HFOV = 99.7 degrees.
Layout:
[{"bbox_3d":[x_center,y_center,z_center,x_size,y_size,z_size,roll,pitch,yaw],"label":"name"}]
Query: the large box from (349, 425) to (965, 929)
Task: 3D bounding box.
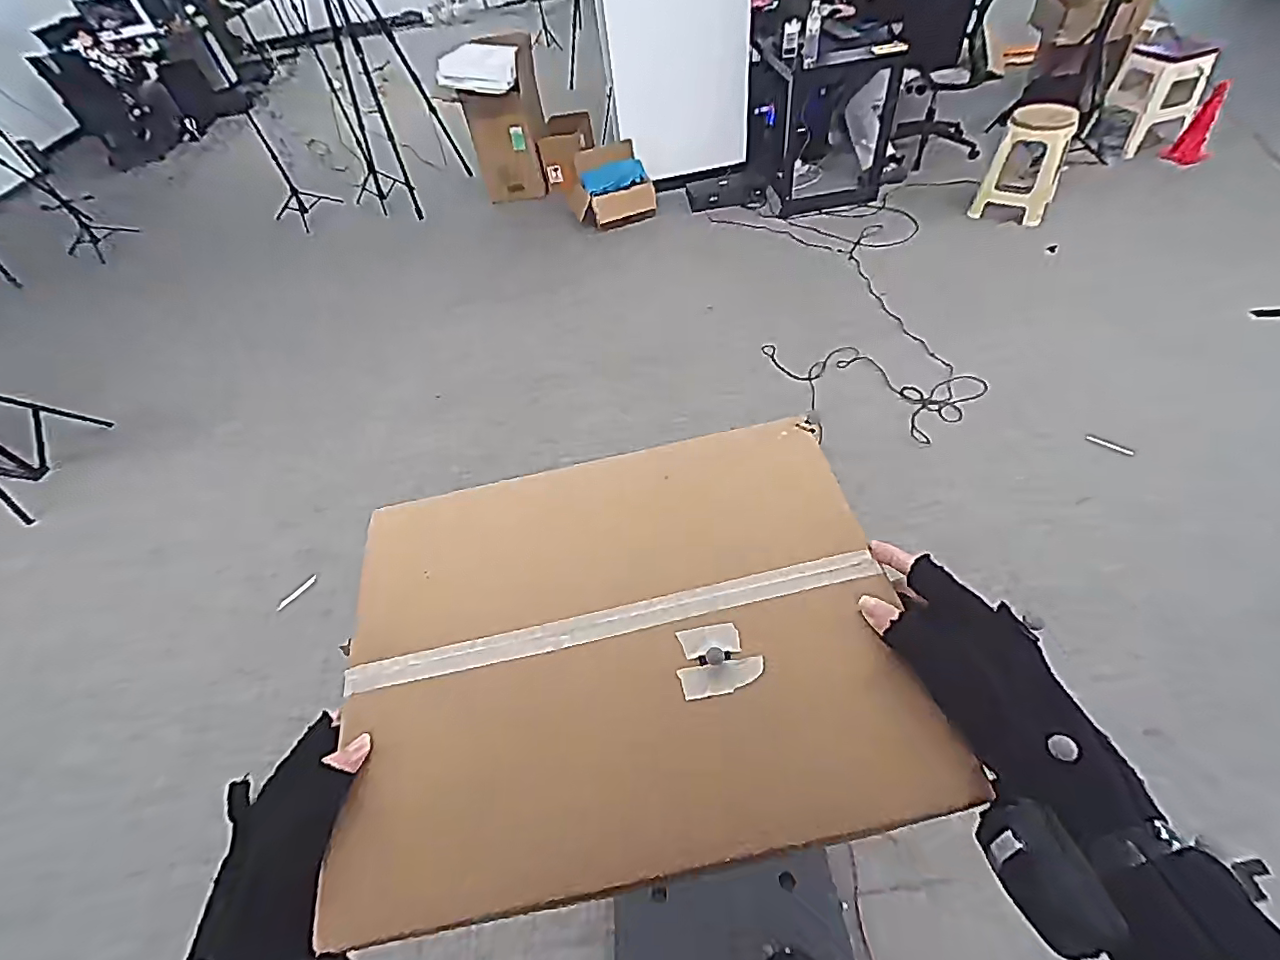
[{"bbox_3d":[0.002,0.197,0.540,0.408,0.320,0.320,-13,54,-1],"label":"large box"}]
